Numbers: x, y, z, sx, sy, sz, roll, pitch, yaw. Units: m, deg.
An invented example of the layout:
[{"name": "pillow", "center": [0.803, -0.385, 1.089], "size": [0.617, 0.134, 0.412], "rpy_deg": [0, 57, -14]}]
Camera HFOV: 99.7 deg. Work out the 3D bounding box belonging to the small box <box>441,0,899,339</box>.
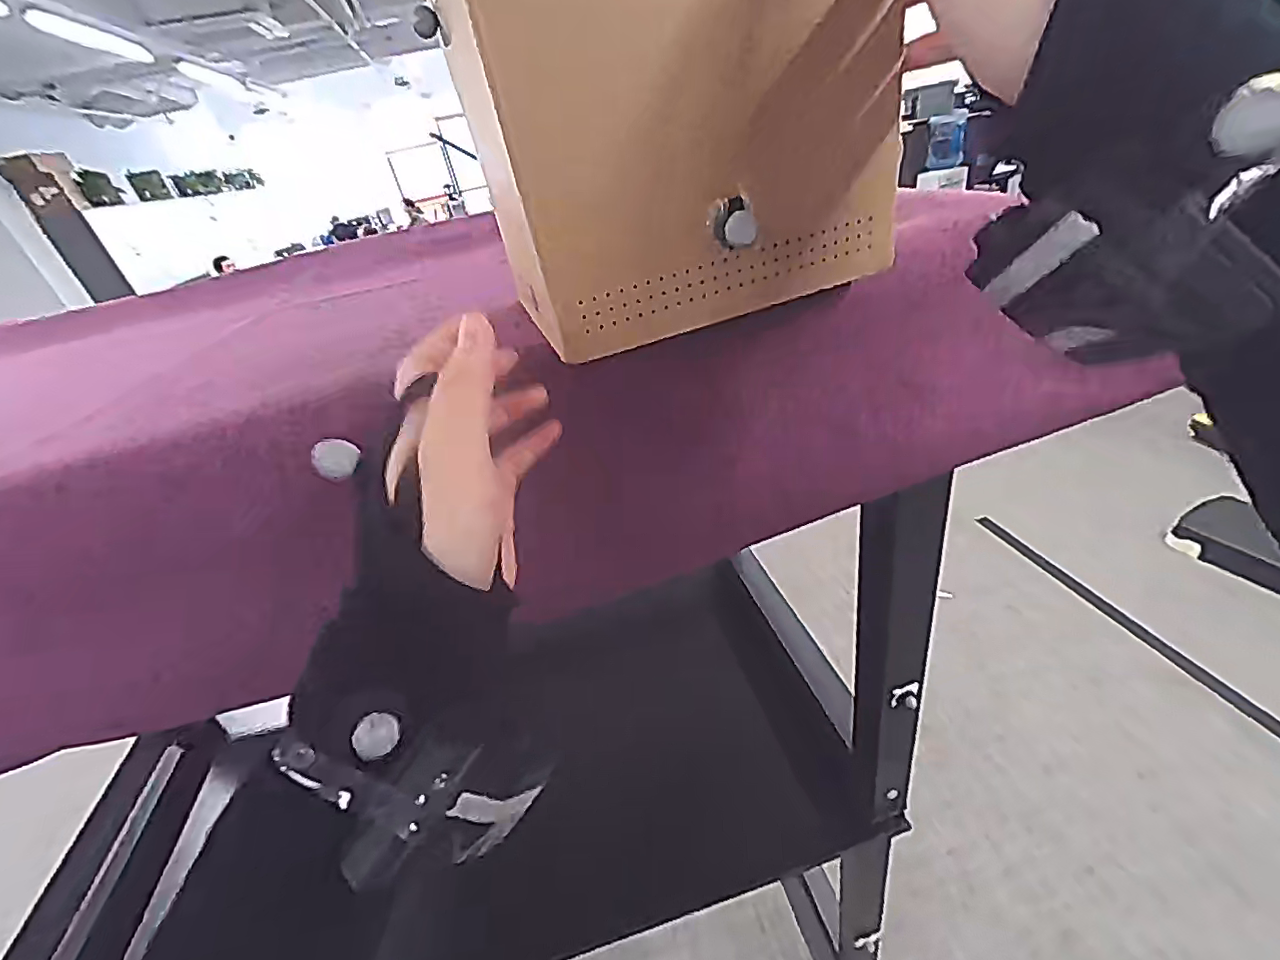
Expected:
[{"name": "small box", "center": [0.008, -0.191, 0.279], "size": [0.179, 0.176, 0.168], "rpy_deg": [-19, 32, -10]}]
